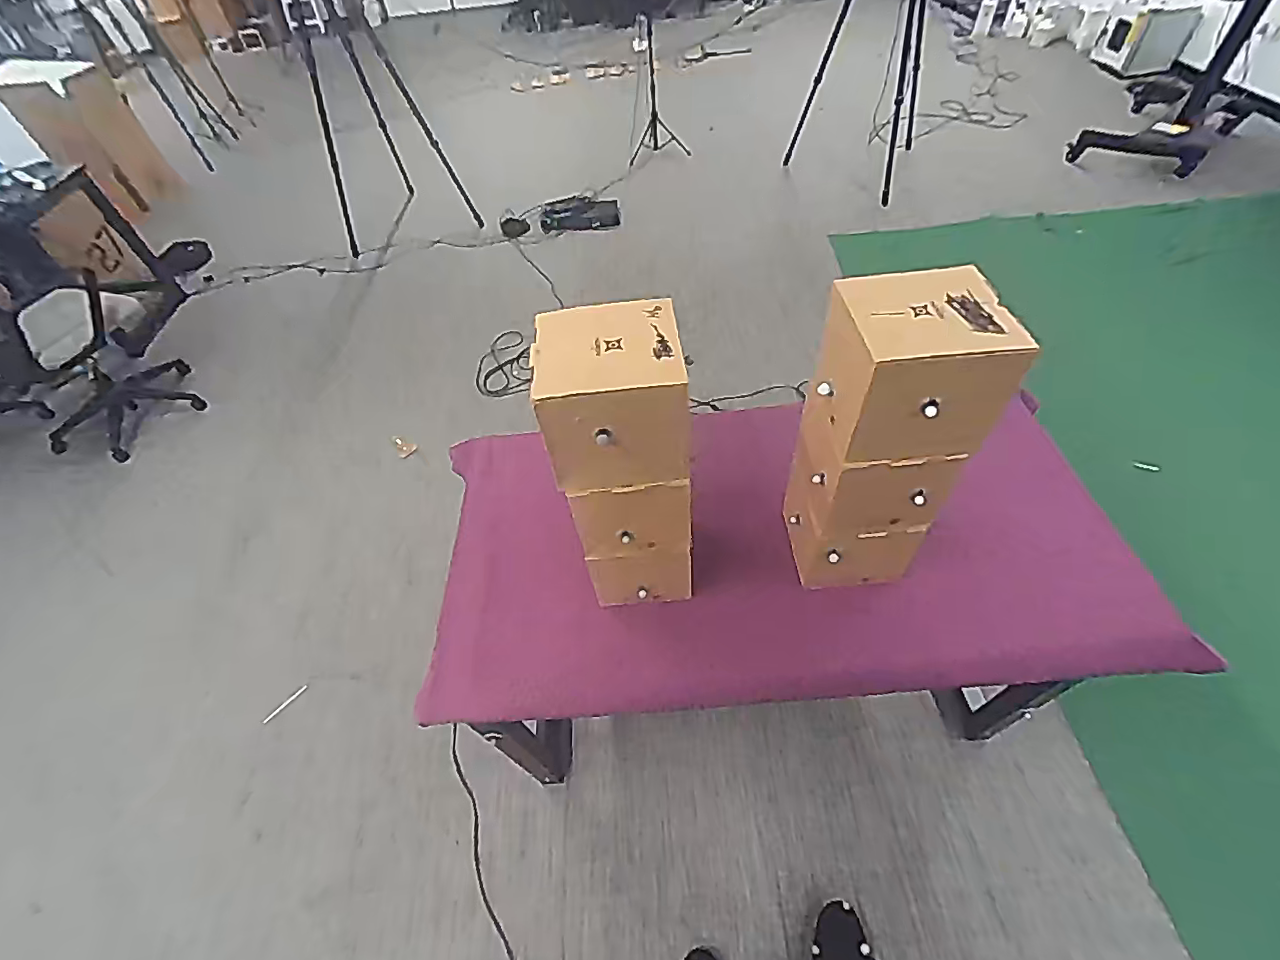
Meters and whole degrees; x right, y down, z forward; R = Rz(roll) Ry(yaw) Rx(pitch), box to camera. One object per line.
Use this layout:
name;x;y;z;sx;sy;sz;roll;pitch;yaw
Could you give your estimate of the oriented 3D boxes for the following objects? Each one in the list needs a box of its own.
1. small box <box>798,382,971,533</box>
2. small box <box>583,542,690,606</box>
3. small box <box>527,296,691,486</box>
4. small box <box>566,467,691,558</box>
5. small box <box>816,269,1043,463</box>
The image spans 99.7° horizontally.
small box;0.343;-0.033;0.799;0.168;0.176;0.179;-5;50;2
small box;-0.002;0.100;0.938;0.168;0.176;0.179;-5;51;3
small box;-0.032;-0.106;0.687;0.179;0.176;0.168;-6;52;1
small box;-0.015;-0.003;0.814;0.168;0.176;0.179;-6;51;1
small box;0.337;-0.137;0.673;0.179;0.176;0.168;-4;51;3
